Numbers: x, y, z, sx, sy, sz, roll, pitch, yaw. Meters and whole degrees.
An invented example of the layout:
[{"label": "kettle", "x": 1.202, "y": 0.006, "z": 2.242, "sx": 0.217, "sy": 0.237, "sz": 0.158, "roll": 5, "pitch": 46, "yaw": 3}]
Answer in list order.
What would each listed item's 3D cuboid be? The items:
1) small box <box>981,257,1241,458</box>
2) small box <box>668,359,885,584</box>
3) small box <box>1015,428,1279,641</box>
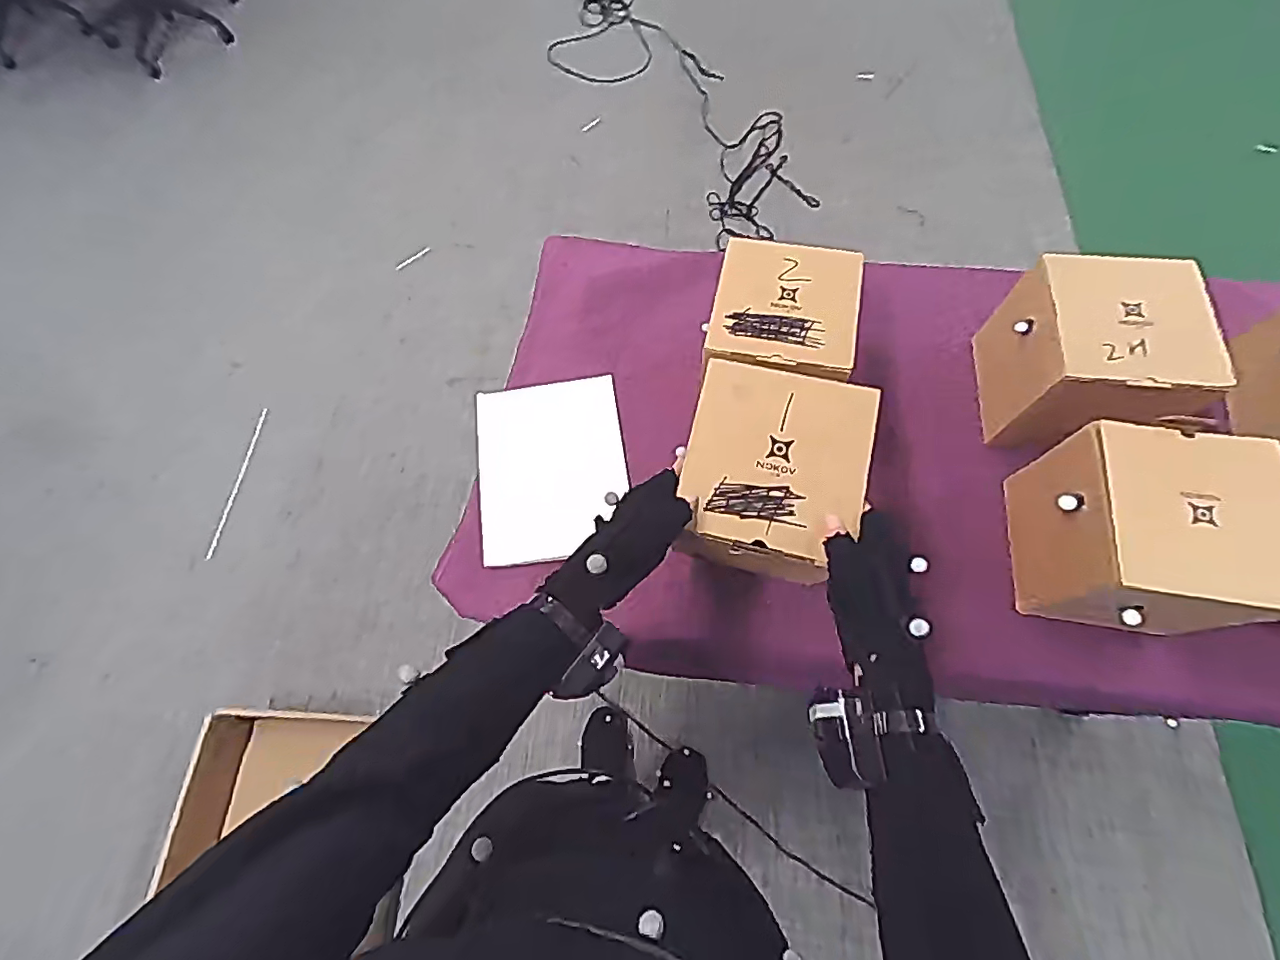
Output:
[{"label": "small box", "x": 0.548, "y": -0.140, "z": 0.664, "sx": 0.168, "sy": 0.176, "sz": 0.179, "roll": 7, "pitch": 68, "yaw": 6}, {"label": "small box", "x": 0.132, "y": 0.004, "z": 0.564, "sx": 0.168, "sy": 0.176, "sz": 0.179, "roll": 13, "pitch": 76, "yaw": 7}, {"label": "small box", "x": 0.537, "y": 0.067, "z": 0.581, "sx": 0.168, "sy": 0.176, "sz": 0.179, "roll": 9, "pitch": 69, "yaw": 8}]
